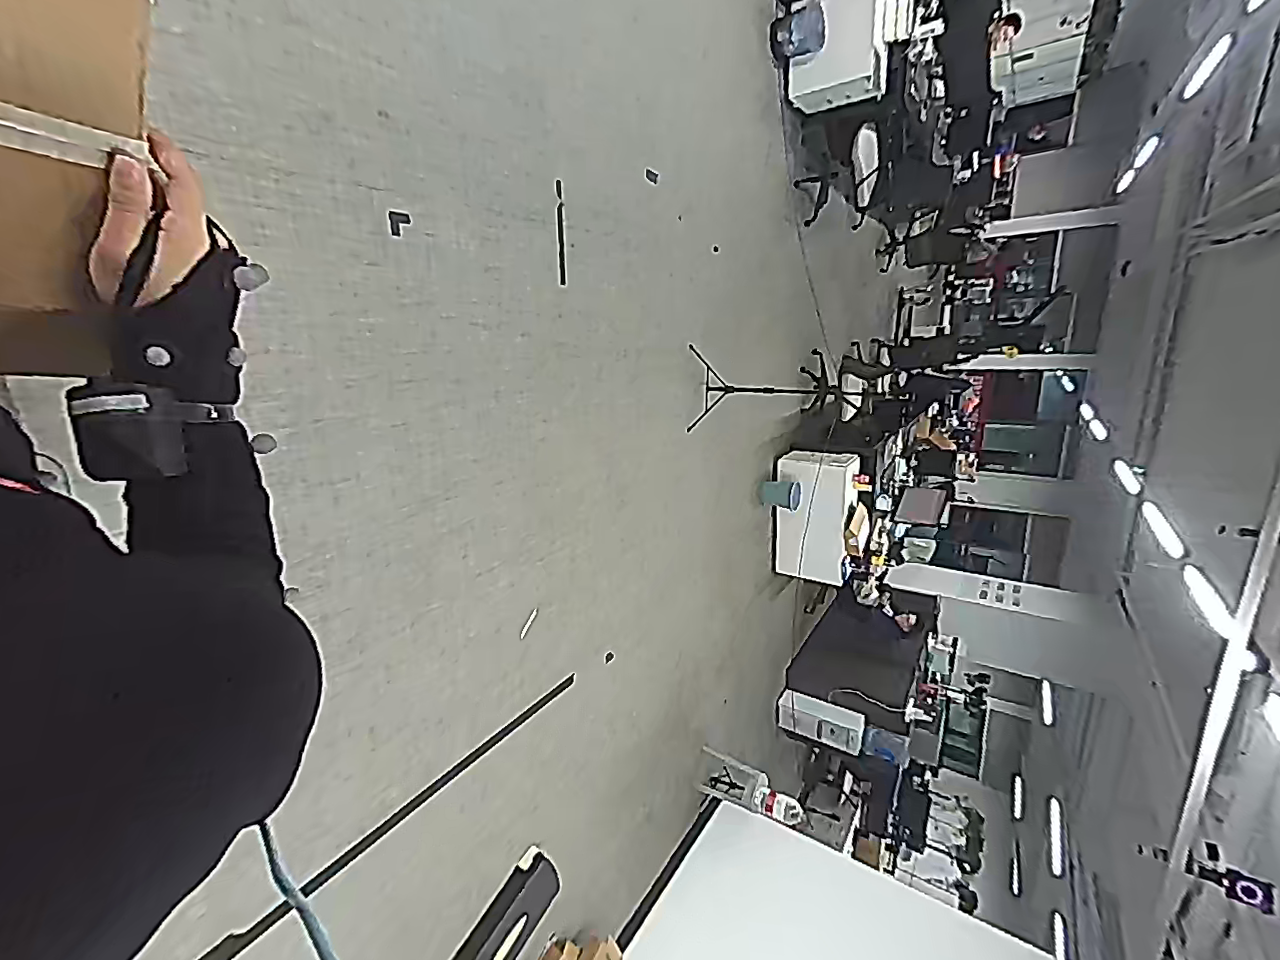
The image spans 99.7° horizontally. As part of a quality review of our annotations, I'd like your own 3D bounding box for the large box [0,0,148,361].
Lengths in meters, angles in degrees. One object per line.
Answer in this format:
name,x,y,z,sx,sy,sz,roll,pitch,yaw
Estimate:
large box,-0.522,-0.274,0.238,0.408,0.320,0.320,-11,141,-51
